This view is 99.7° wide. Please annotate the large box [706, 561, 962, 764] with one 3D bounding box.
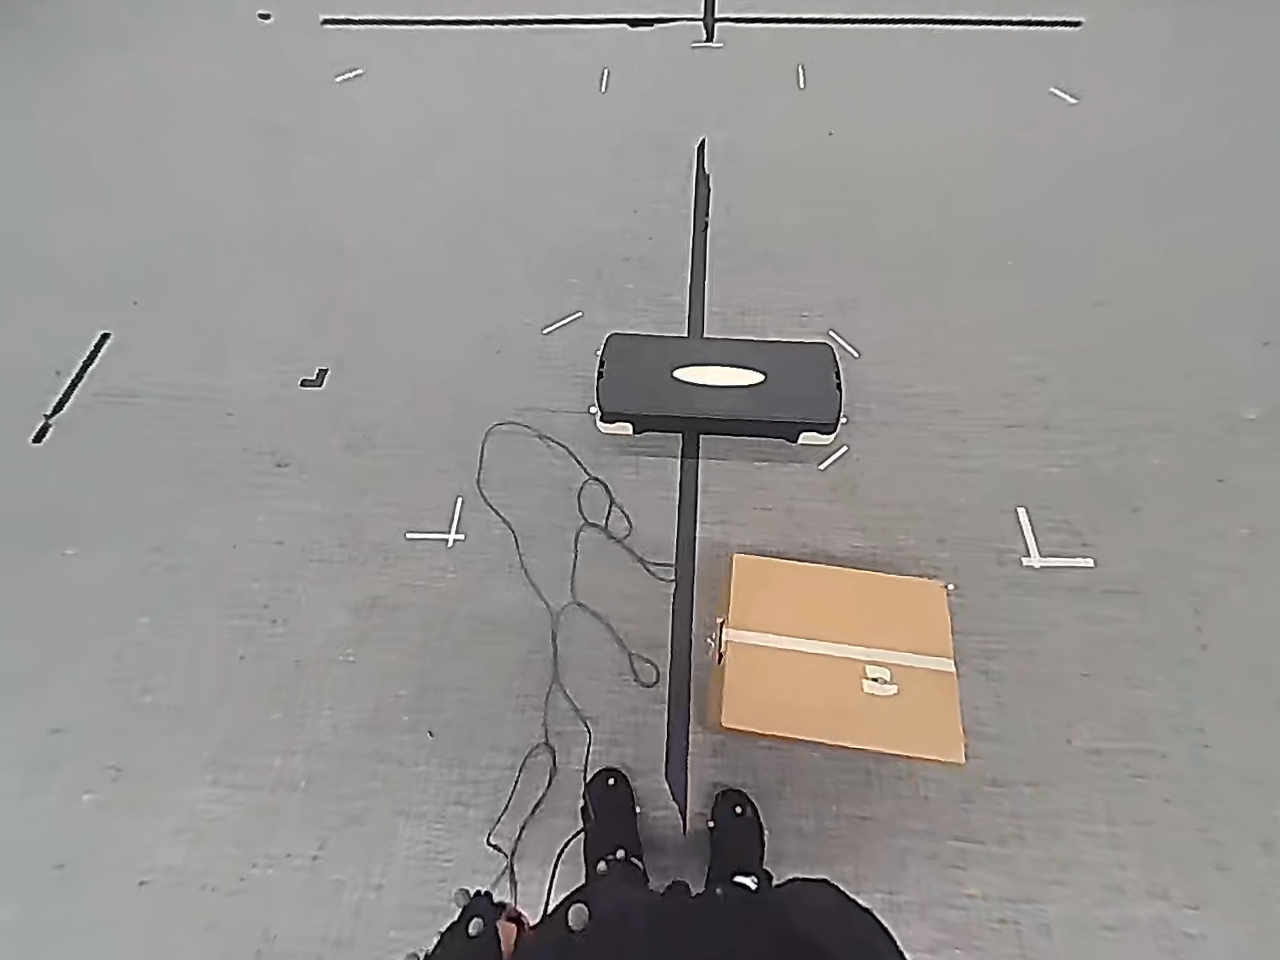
[{"bbox_3d":[0.355,0.379,1.101,0.408,0.320,0.320,7,65,4],"label":"large box"}]
